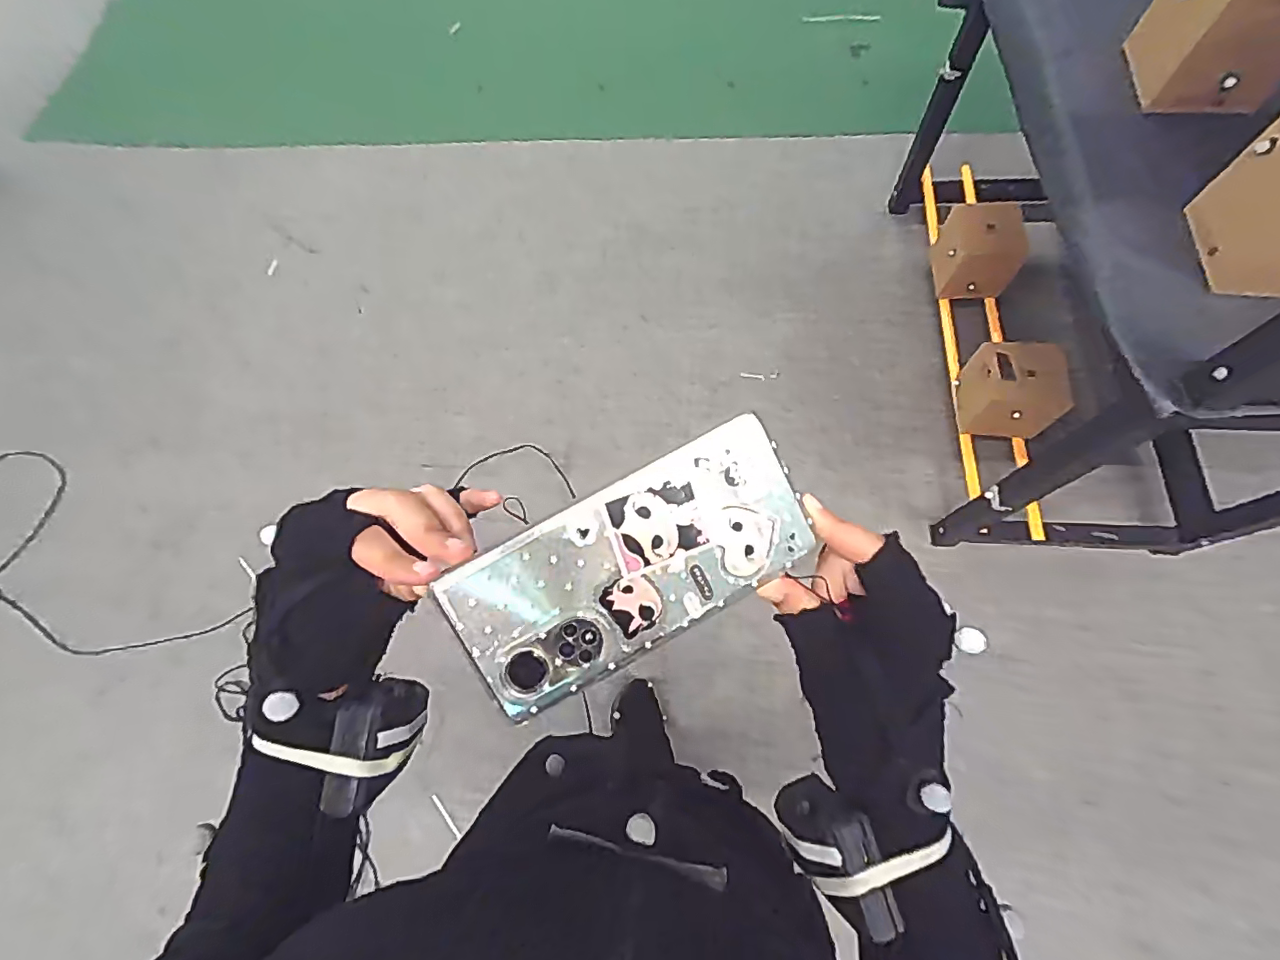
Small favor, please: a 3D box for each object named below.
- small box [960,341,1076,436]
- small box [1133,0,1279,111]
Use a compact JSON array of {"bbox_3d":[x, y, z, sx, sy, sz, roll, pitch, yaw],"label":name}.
[{"bbox_3d":[0.901,-0.217,1.311,0.179,0.176,0.168,5,69,7],"label":"small box"},{"bbox_3d":[0.915,-0.709,0.831,0.168,0.176,0.179,5,69,7],"label":"small box"}]
